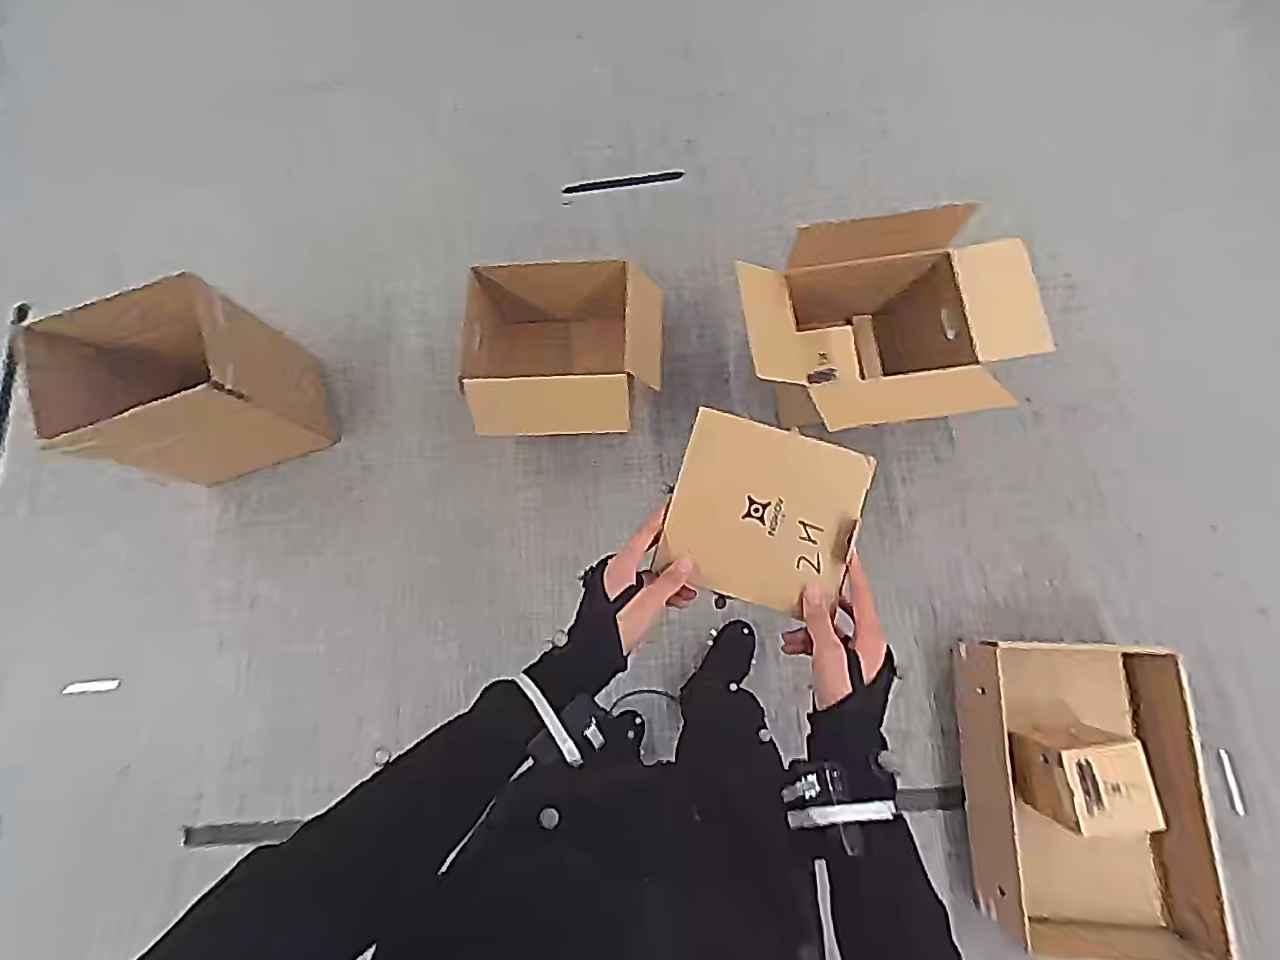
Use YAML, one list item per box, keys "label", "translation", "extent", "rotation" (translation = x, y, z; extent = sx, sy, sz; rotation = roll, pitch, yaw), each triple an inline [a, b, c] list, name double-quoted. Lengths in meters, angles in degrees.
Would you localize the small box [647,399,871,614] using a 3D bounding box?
- label: "small box"
  translation: [0.114, 0.032, 0.581]
  extent: [0.179, 0.176, 0.168]
  rotation: [17, 84, 3]
